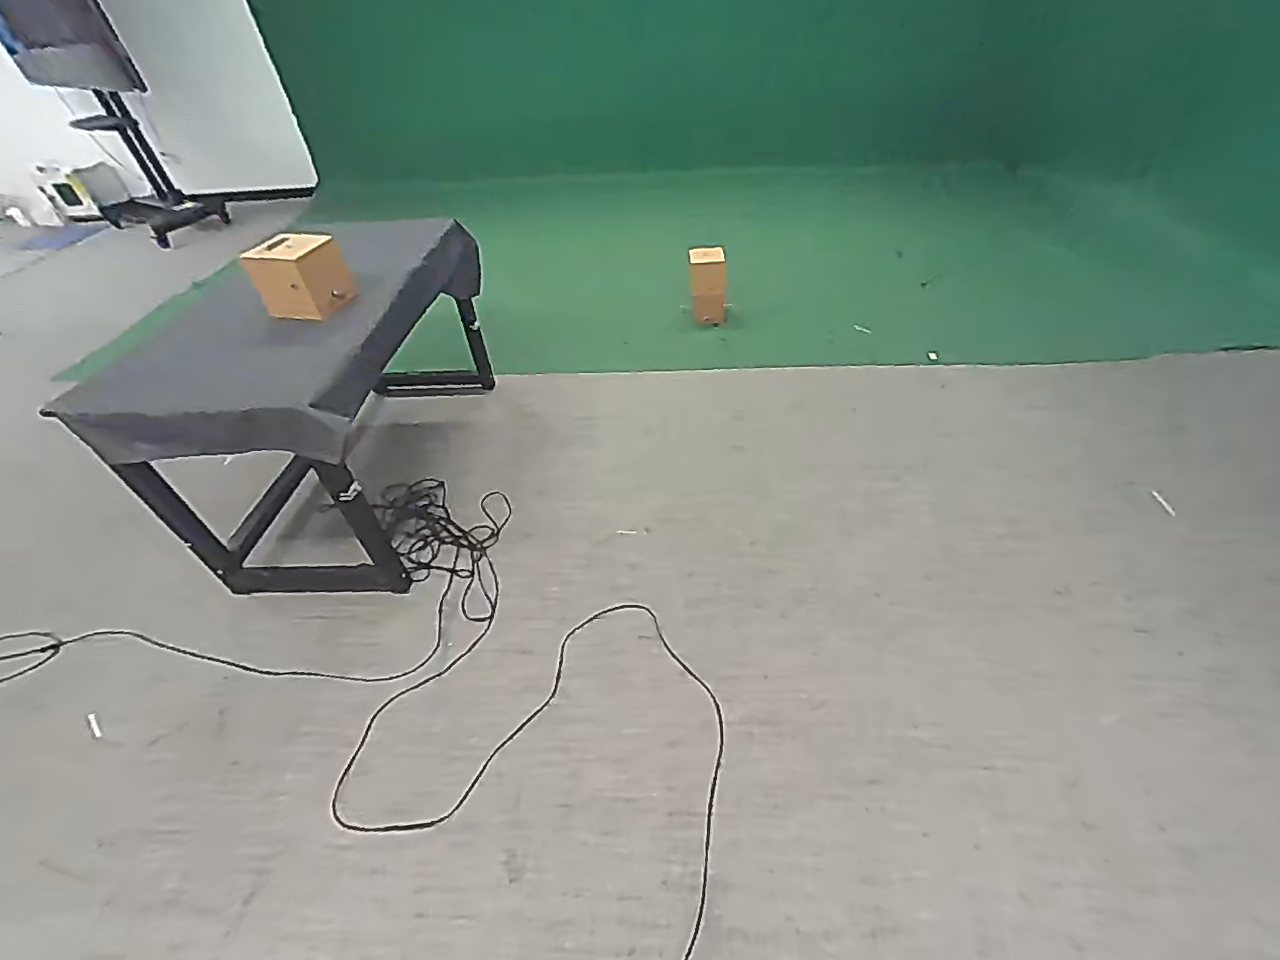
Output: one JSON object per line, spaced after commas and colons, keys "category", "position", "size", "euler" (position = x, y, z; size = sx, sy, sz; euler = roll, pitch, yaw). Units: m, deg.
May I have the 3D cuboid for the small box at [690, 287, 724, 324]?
{"category": "small box", "position": [0.349, -0.941, 2.849], "size": [0.168, 0.176, 0.179], "euler": [-2, 44, 4]}

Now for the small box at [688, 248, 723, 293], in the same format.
{"category": "small box", "position": [0.330, -1.056, 2.735], "size": [0.168, 0.176, 0.179], "euler": [-2, 43, 3]}
